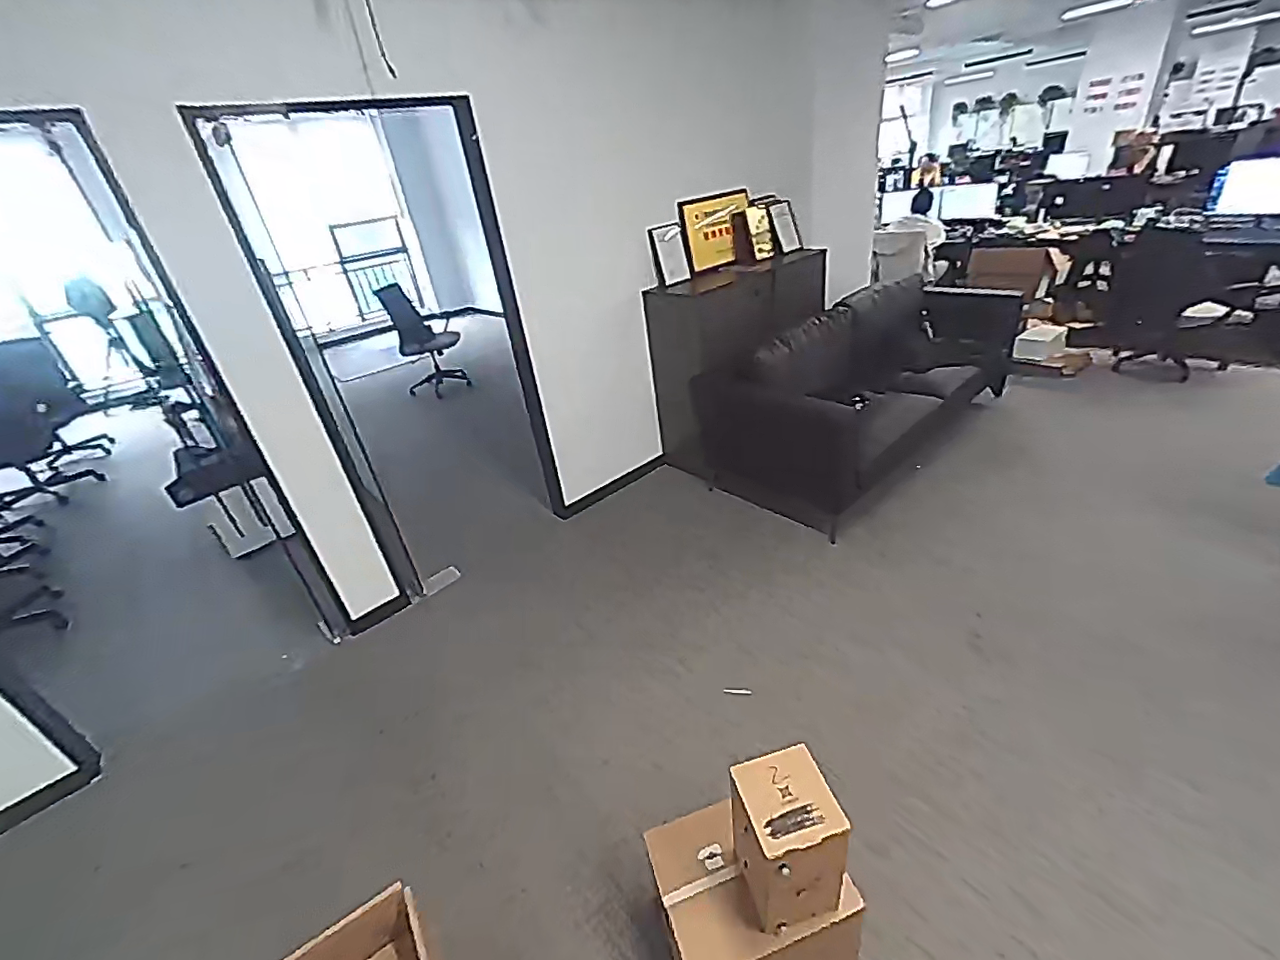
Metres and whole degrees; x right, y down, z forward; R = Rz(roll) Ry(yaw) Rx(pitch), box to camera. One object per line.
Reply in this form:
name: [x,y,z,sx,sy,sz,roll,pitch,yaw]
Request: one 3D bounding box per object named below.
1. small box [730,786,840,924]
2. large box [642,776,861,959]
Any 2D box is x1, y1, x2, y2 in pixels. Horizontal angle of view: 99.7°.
small box: [0.303,0.800,1.148,0.168,0.176,0.179,-13,31,-9]
large box: [0.257,1.006,1.296,0.408,0.320,0.320,-16,30,-11]
